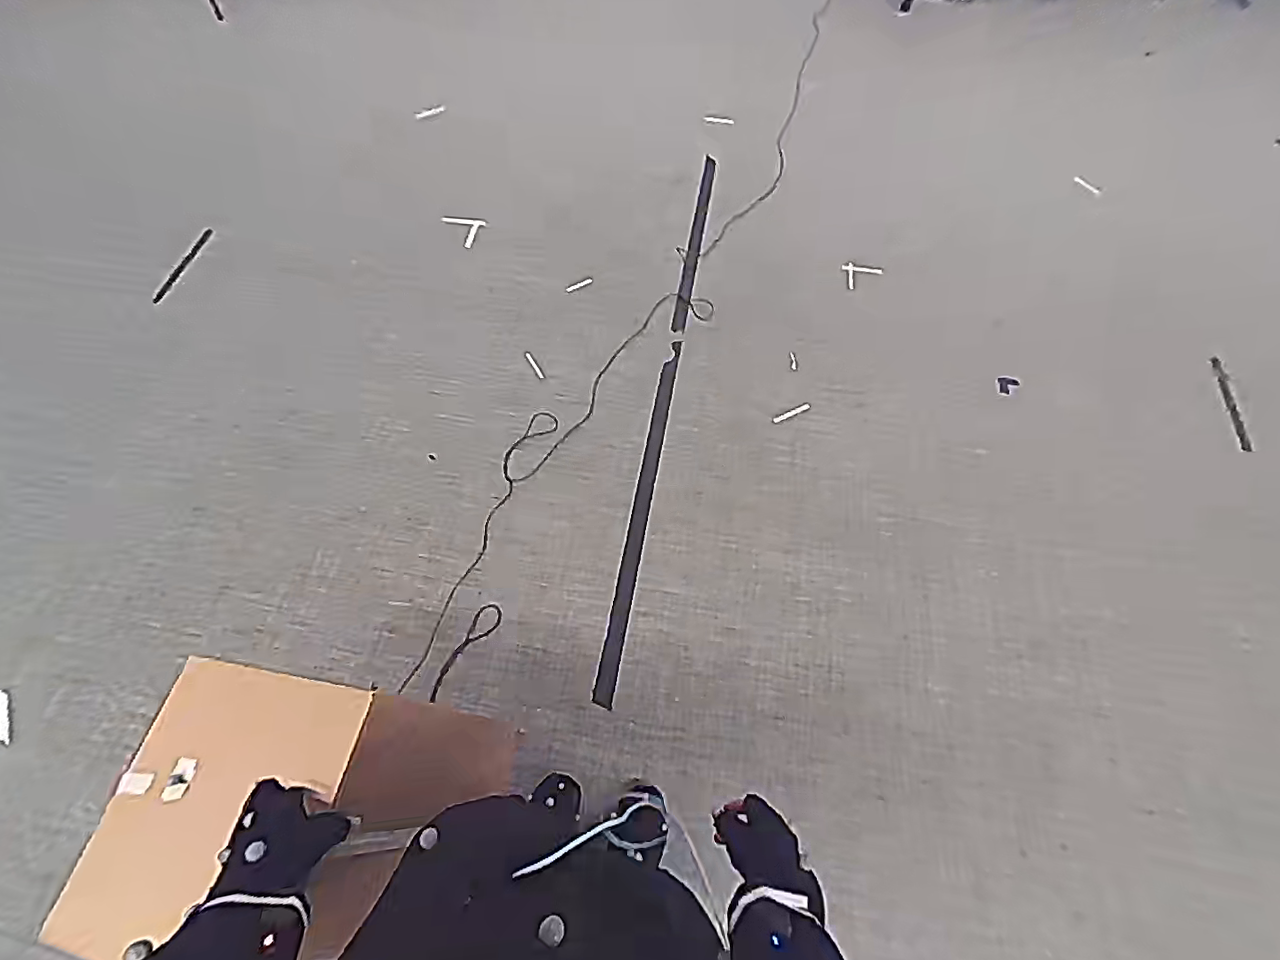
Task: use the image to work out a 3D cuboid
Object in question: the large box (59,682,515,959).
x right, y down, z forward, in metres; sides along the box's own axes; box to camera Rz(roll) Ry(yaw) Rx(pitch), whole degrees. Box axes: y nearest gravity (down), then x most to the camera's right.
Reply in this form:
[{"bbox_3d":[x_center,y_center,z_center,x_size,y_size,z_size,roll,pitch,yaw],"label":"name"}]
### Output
[{"bbox_3d":[-0.439,0.493,0.785,0.320,0.408,0.320,3,63,16],"label":"large box"}]
